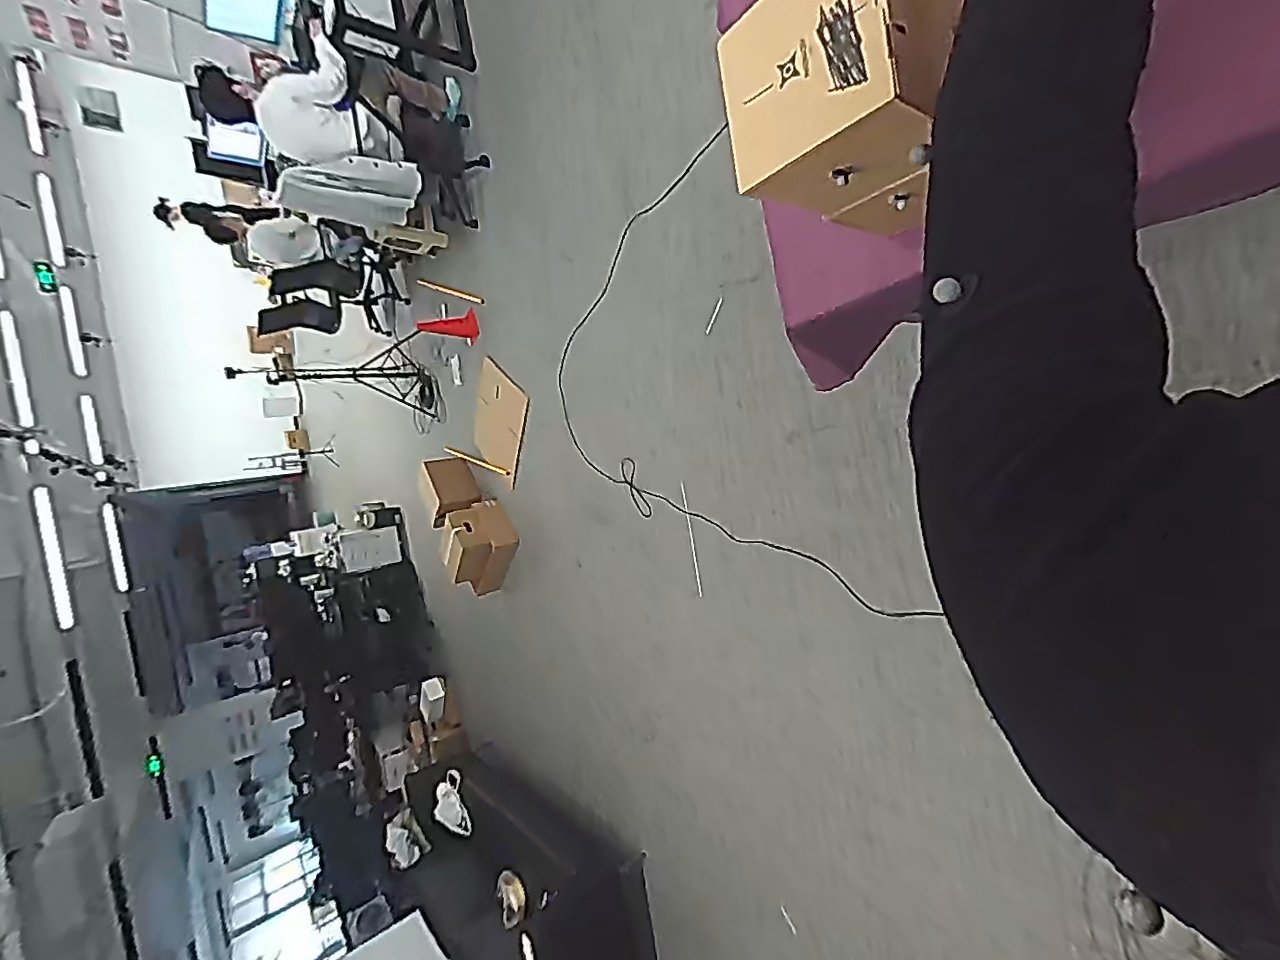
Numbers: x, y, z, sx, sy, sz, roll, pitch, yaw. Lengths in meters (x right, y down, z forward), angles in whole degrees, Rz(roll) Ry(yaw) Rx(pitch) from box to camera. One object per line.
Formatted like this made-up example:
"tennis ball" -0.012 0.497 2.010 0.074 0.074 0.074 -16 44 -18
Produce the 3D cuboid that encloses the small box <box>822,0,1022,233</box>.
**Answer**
"small box" 0.339 -0.428 0.672 0.179 0.176 0.168 -6 94 51

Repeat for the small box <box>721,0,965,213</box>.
"small box" 0.215 -0.406 0.567 0.179 0.176 0.168 -7 94 53
